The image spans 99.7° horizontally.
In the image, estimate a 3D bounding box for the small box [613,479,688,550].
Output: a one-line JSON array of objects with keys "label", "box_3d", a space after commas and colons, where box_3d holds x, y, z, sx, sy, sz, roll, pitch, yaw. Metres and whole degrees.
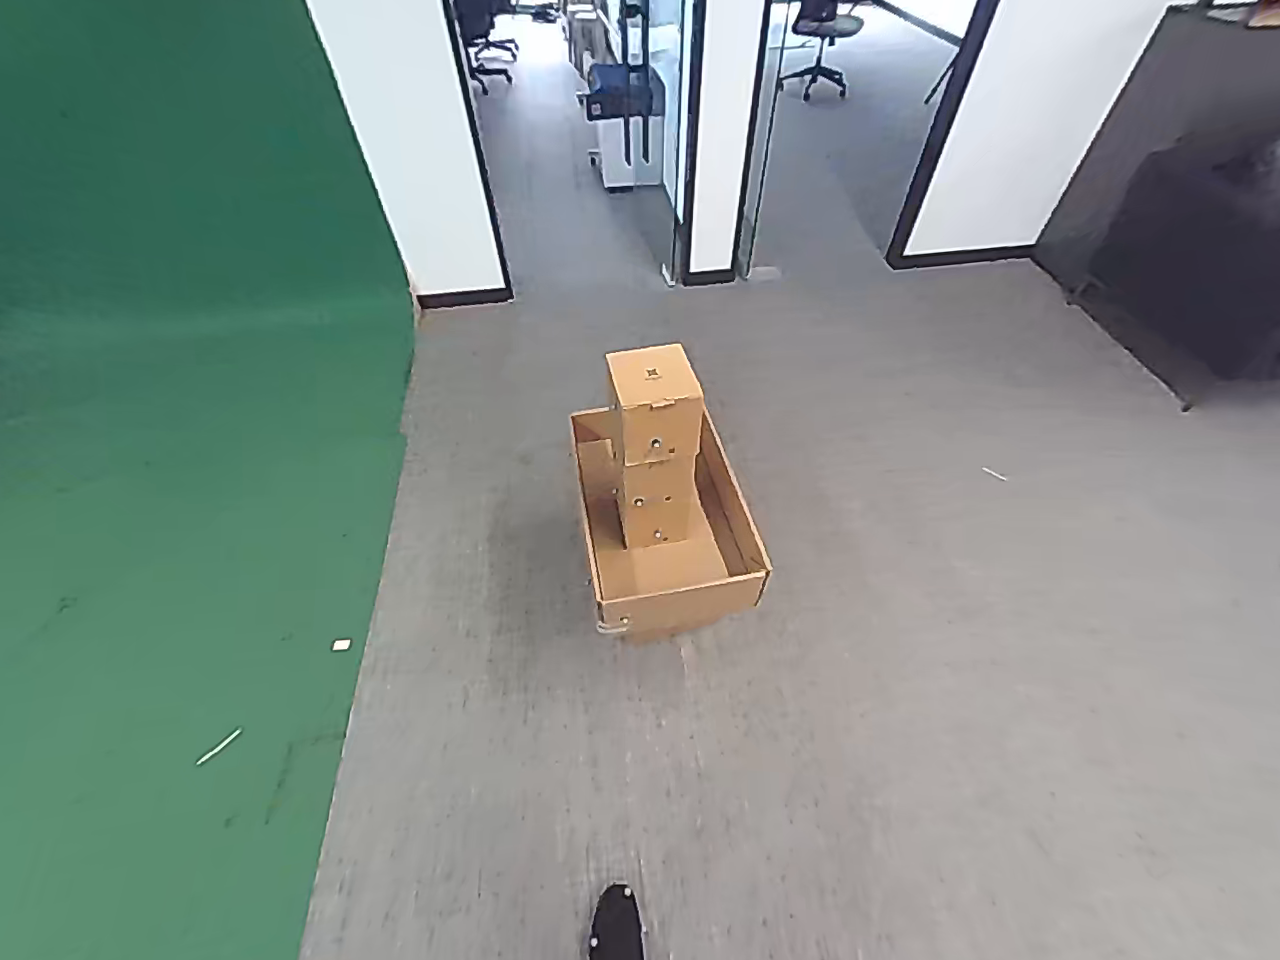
[{"label": "small box", "box_3d": [0.021, 0.056, 1.395, 0.168, 0.176, 0.179, -9, 50, -6]}]

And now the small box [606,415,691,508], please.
[{"label": "small box", "box_3d": [0.019, -0.051, 1.271, 0.168, 0.176, 0.179, -10, 49, -8]}]

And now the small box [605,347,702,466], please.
[{"label": "small box", "box_3d": [0.021, -0.154, 1.146, 0.168, 0.176, 0.179, -10, 50, -9]}]
